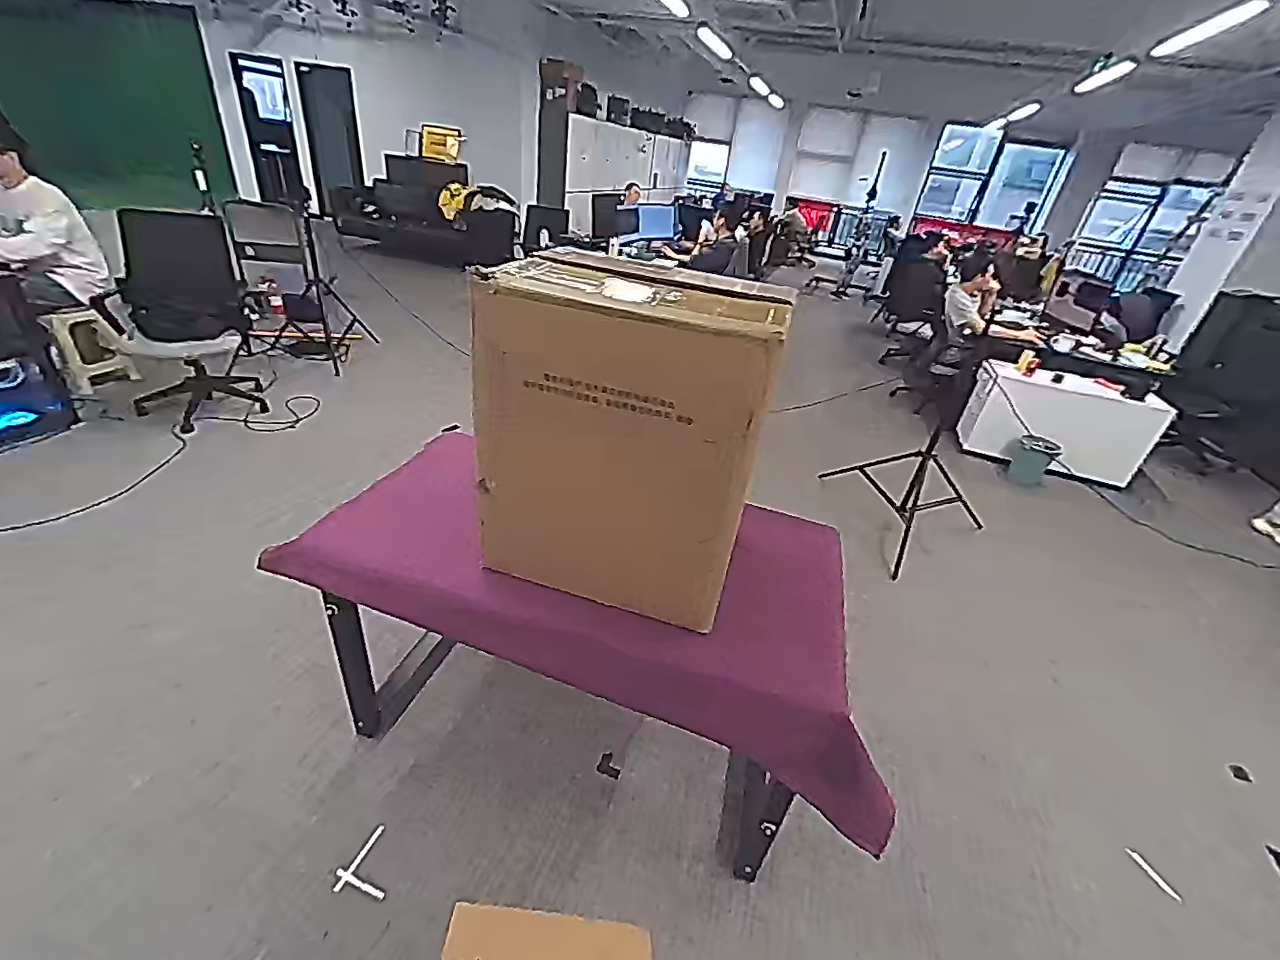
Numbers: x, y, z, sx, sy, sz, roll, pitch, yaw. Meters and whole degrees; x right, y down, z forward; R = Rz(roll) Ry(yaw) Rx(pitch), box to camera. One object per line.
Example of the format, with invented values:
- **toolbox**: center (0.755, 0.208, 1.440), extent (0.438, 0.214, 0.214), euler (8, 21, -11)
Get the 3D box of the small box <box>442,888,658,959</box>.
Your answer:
- **small box**: center (-0.089, 0.470, 0.416), extent (0.179, 0.176, 0.168), euler (15, 13, -7)
